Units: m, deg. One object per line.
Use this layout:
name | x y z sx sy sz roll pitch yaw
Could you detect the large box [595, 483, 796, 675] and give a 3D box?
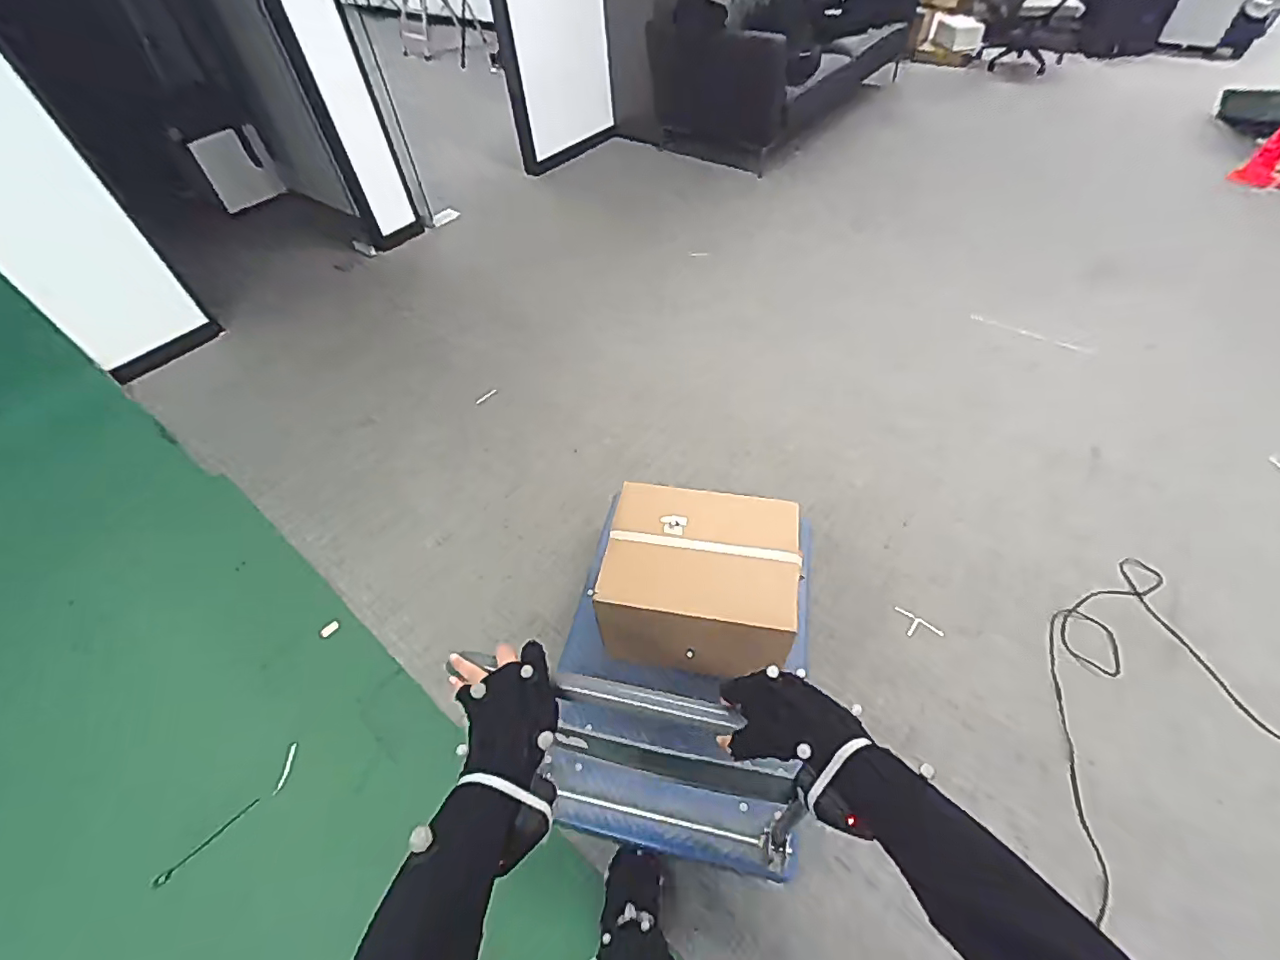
large box | 0.141 0.235 1.270 0.408 0.320 0.320 6 51 10
